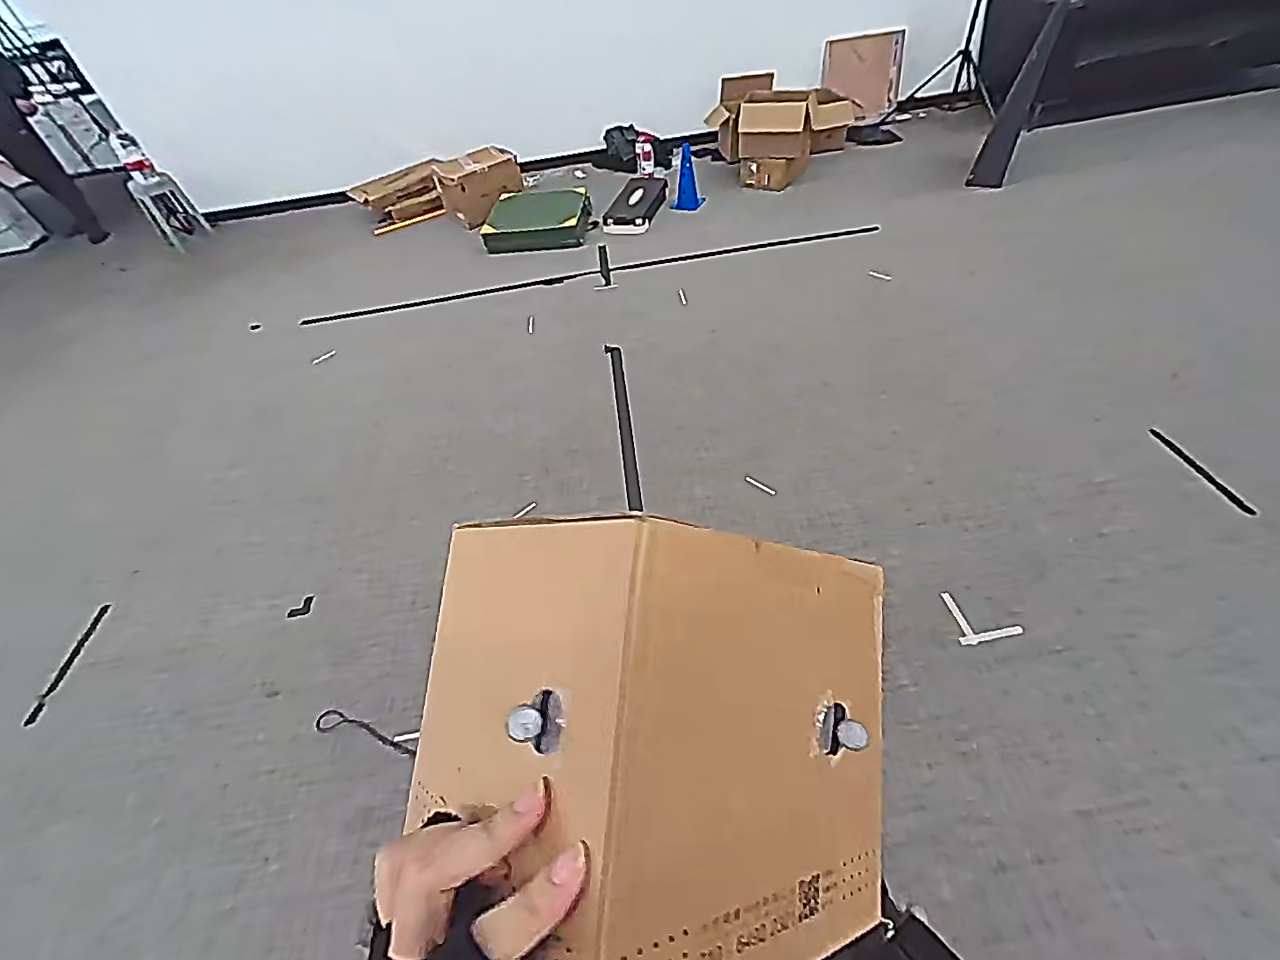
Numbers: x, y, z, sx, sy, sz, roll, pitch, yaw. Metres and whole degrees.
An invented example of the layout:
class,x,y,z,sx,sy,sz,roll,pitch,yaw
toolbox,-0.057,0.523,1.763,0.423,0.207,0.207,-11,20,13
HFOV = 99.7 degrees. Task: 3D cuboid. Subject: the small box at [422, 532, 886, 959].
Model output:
class,x,y,z,sx,sy,sz,roll,pitch,yaw
small box,0.004,0.122,0.281,0.179,0.168,0.176,-9,71,52
